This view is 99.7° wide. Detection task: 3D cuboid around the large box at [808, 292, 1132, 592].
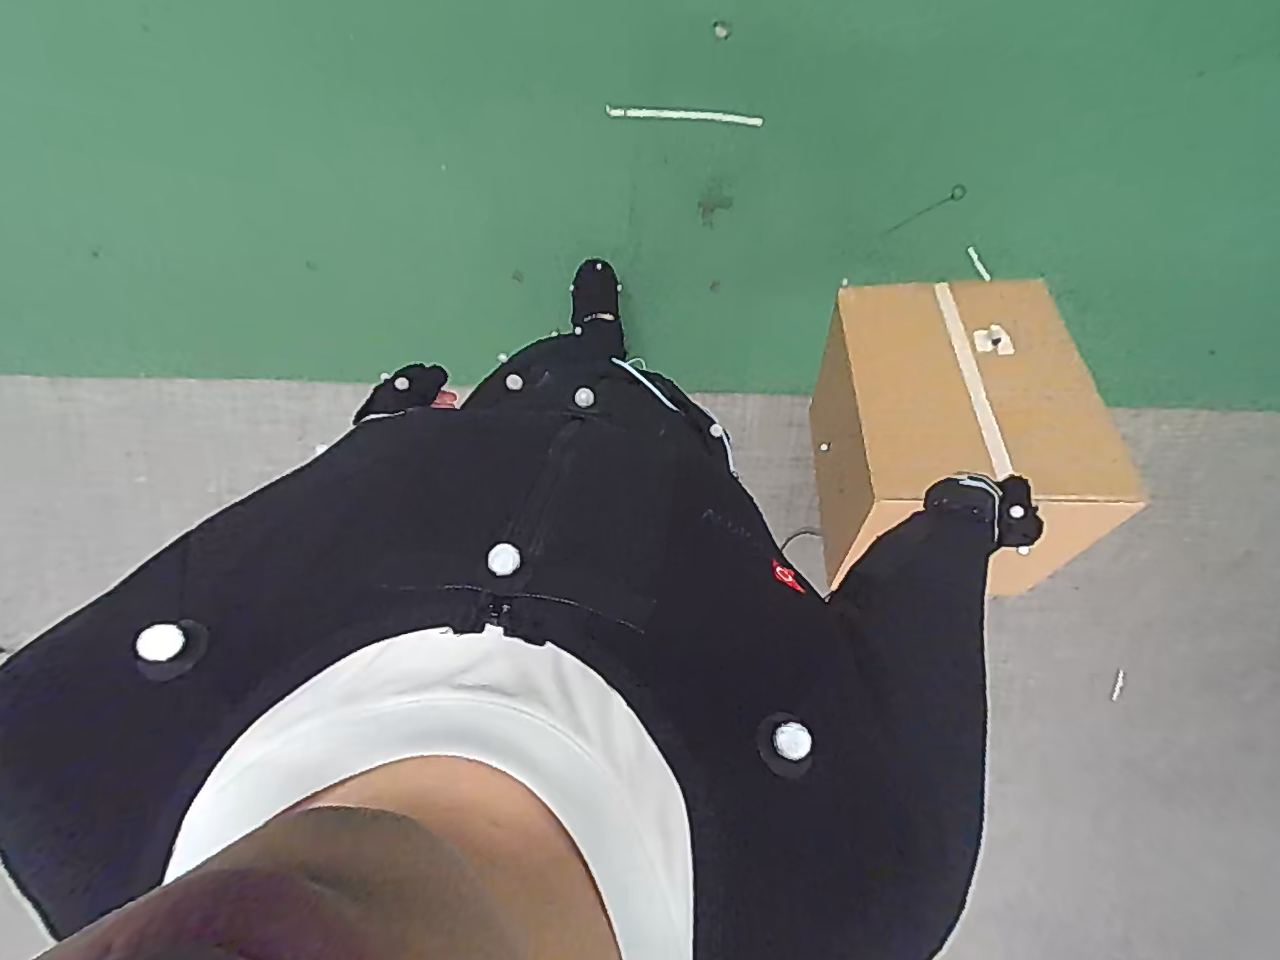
[{"bbox_3d":[0.478,-0.056,0.905,0.320,0.408,0.320,1,146,6],"label":"large box"}]
